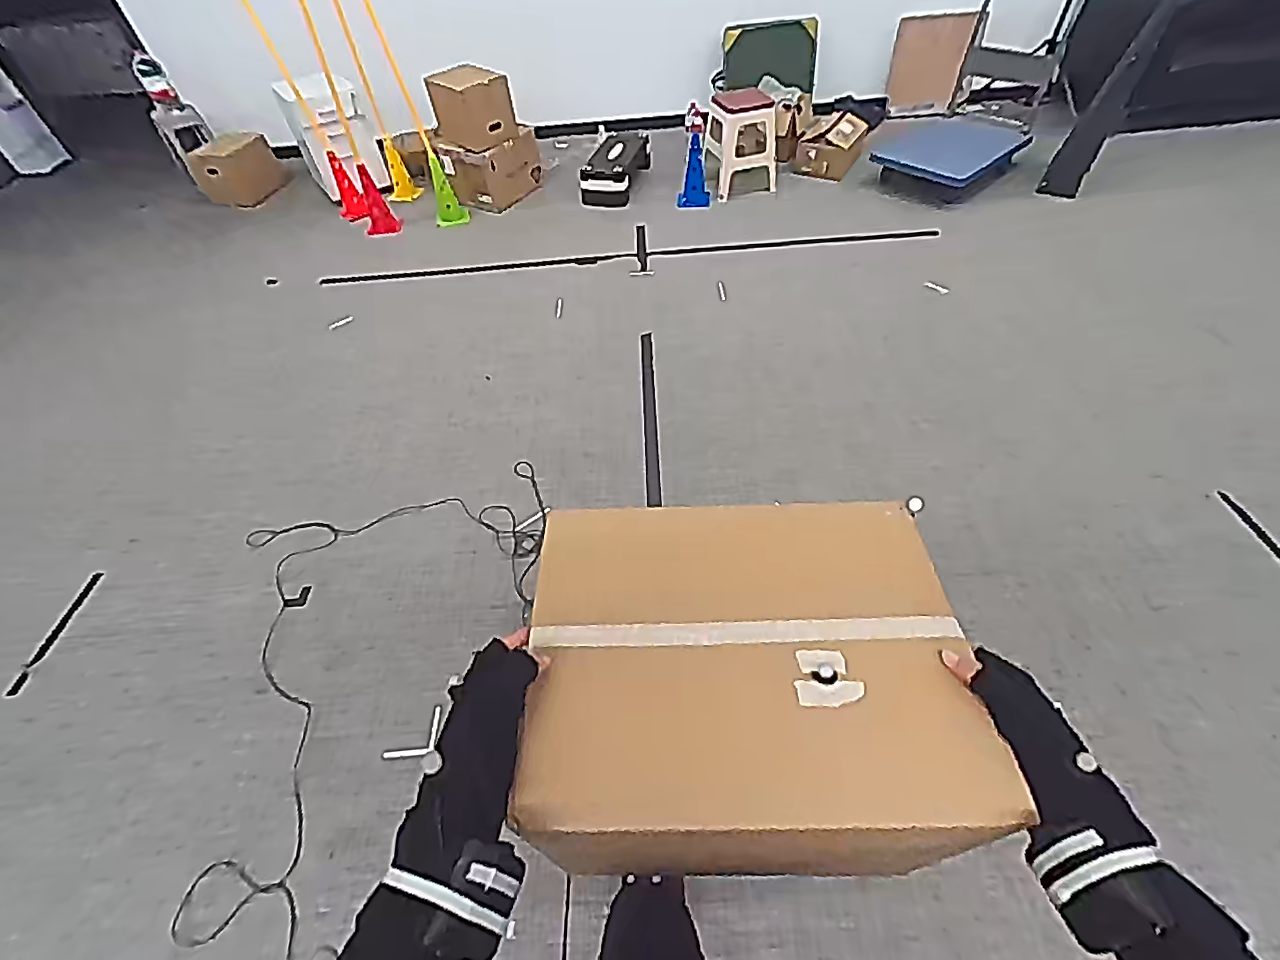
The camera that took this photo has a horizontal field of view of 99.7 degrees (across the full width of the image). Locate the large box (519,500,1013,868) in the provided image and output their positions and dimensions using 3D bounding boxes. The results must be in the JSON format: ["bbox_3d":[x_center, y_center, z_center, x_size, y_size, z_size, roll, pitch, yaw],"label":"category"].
[{"bbox_3d":[0.101,0.244,0.637,0.408,0.320,0.320,-2,48,2],"label":"large box"}]
